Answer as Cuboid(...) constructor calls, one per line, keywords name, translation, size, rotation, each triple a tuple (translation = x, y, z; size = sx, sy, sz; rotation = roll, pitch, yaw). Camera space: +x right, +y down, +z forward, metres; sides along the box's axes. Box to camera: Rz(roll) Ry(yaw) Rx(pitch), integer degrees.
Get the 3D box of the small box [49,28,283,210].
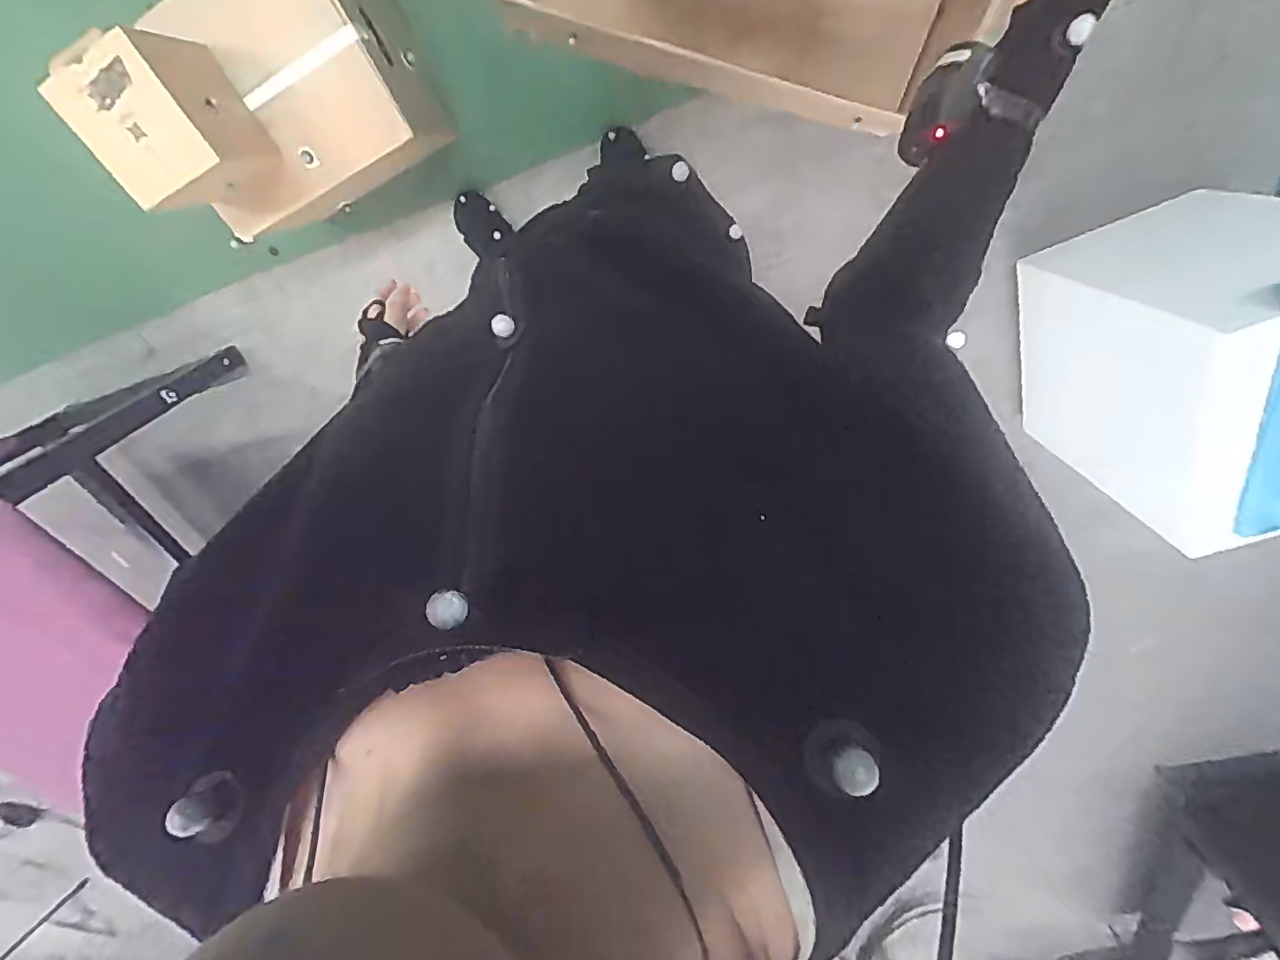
Cuboid(name="small box", translation=(-0.723, -0.554, 0.849), size=(0.168, 0.176, 0.179), rotation=(-21, 120, 13))
